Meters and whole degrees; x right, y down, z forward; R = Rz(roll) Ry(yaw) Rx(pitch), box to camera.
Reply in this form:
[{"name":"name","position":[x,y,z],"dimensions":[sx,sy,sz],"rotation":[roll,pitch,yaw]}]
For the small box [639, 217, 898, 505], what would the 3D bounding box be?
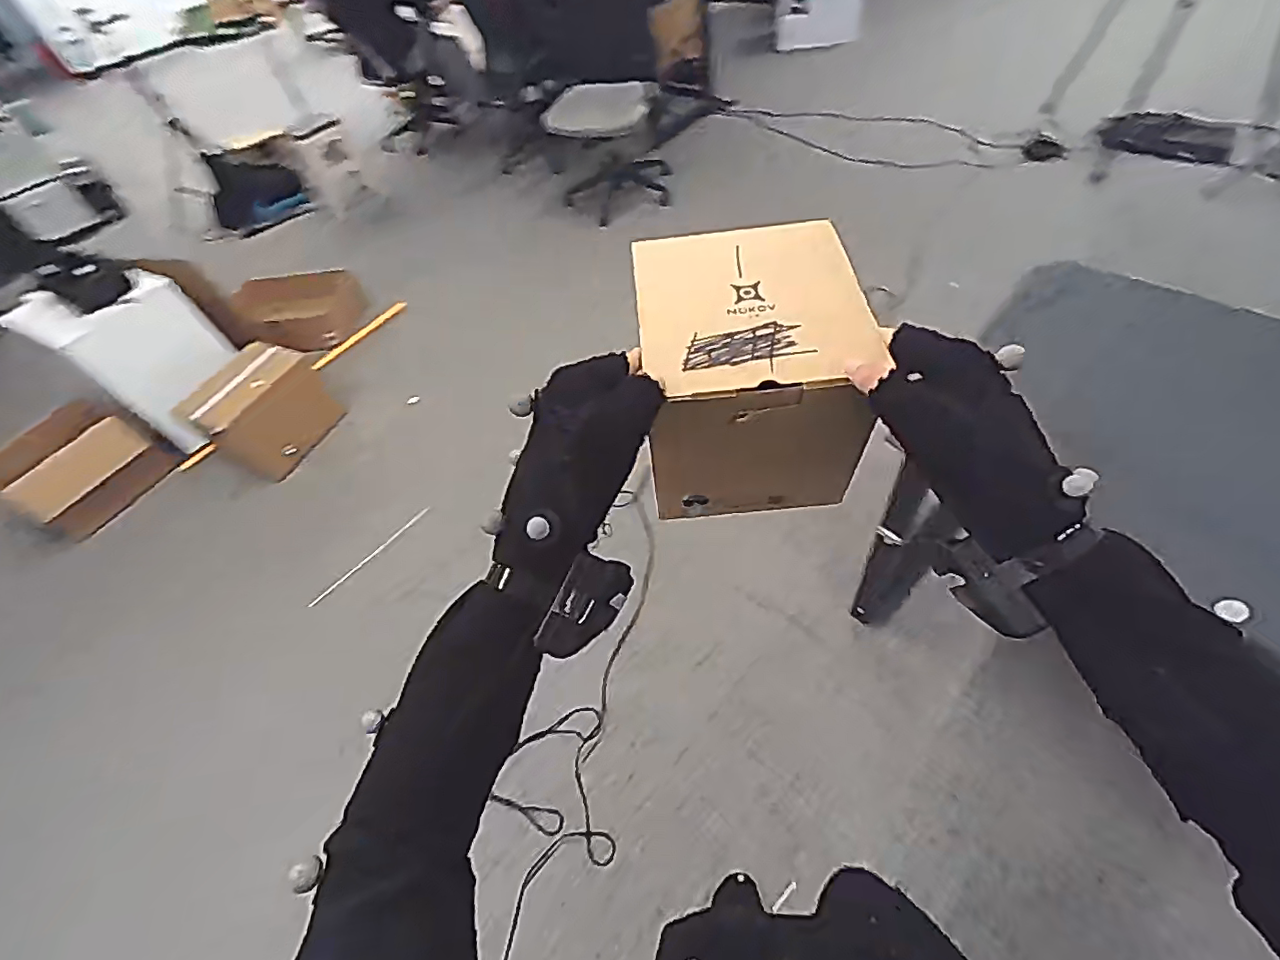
[{"name":"small box","position":[0.090,-0.089,0.459],"dimensions":[0.168,0.176,0.179],"rotation":[-4,56,3]}]
